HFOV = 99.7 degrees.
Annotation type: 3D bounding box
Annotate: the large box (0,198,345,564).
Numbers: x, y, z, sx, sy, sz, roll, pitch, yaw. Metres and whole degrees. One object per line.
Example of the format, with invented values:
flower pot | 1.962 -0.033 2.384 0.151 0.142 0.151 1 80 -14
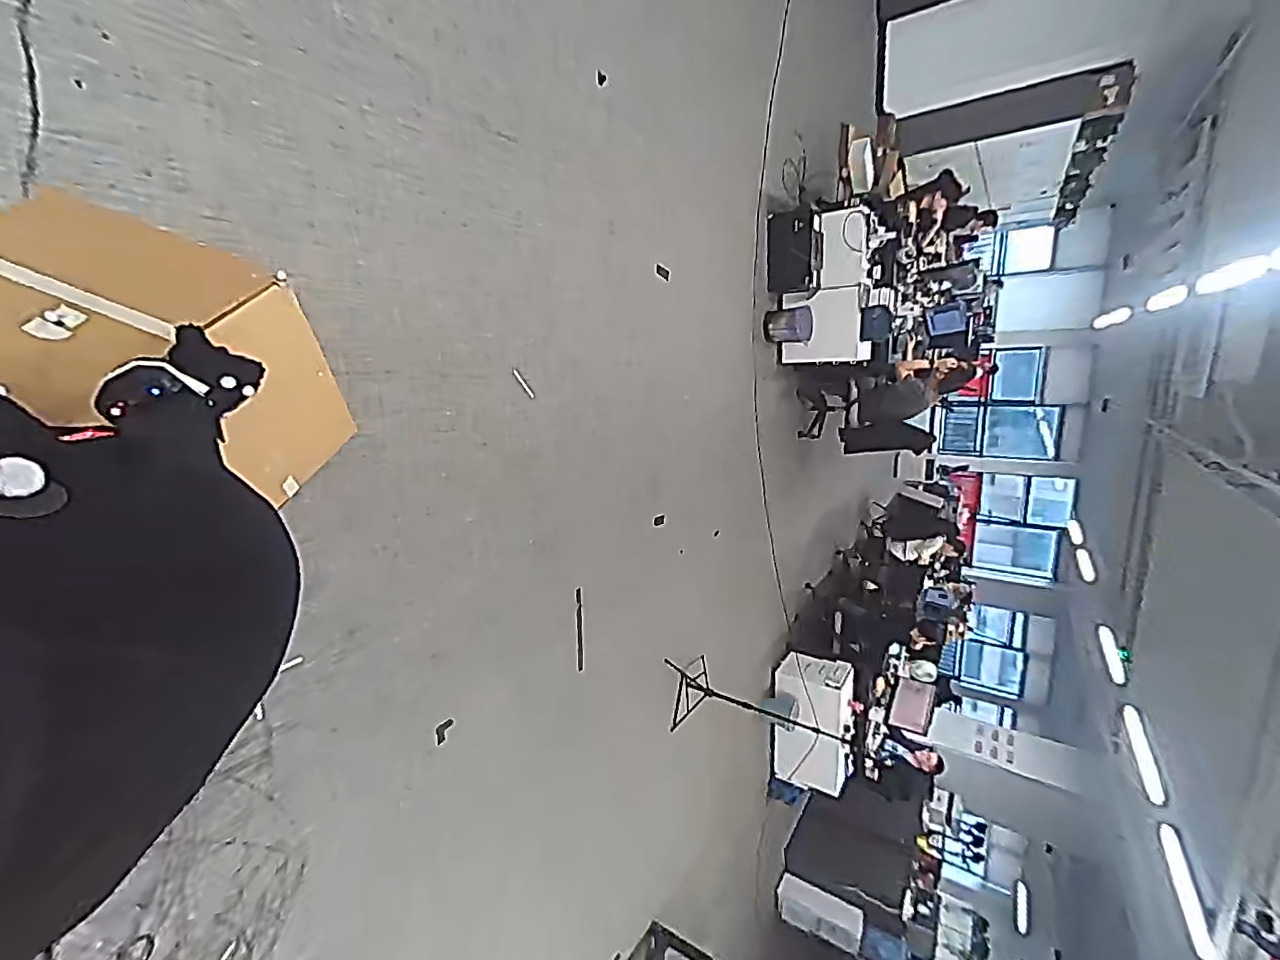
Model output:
large box | -0.740 -0.138 0.784 0.320 0.408 0.320 102 12 -54
